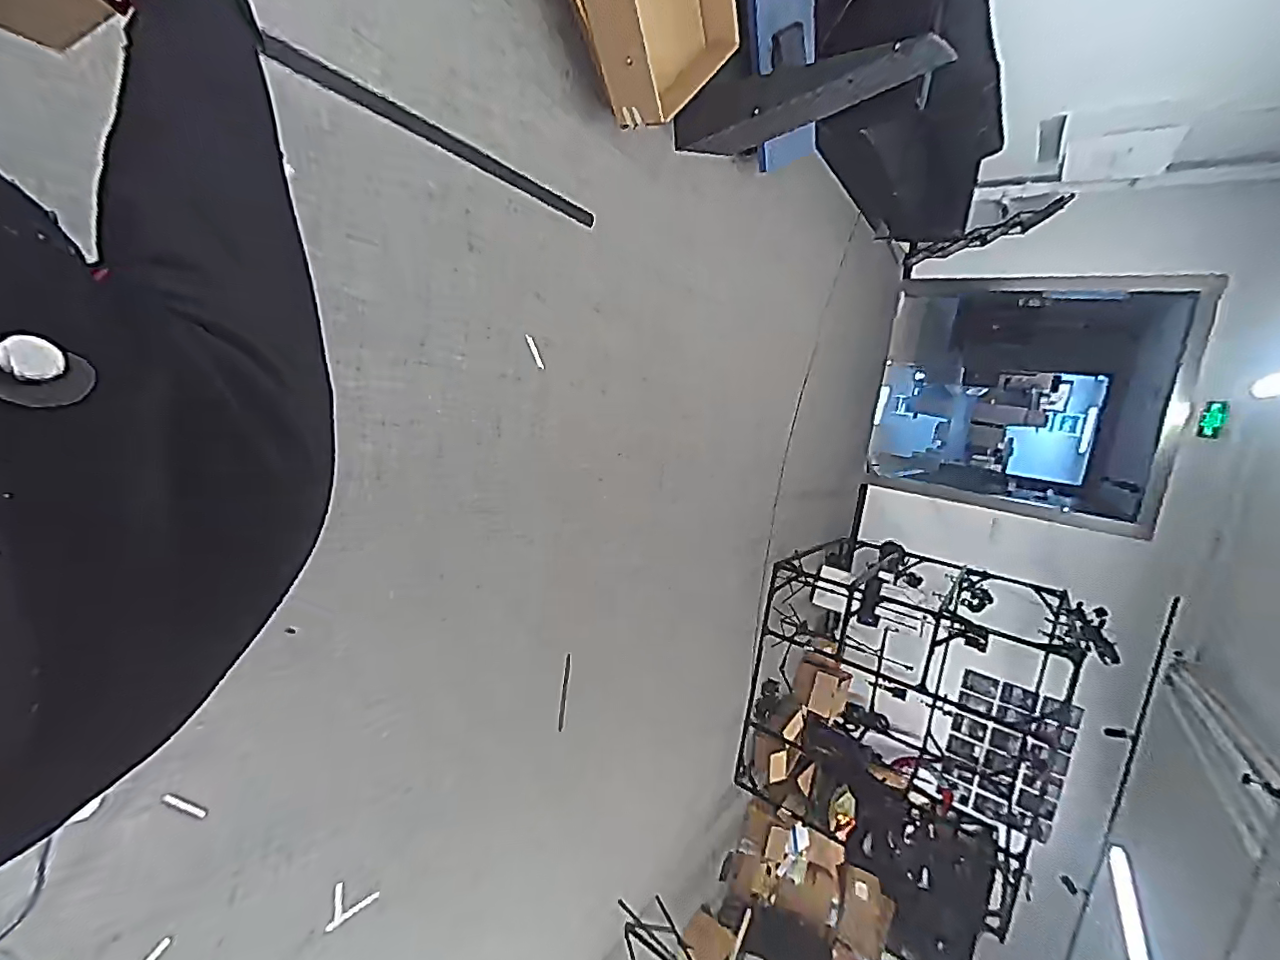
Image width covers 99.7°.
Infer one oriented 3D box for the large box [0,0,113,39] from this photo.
[{"bbox_3d":[-0.582,-0.554,0.302,0.408,0.320,0.320,-5,112,-55],"label":"large box"}]
